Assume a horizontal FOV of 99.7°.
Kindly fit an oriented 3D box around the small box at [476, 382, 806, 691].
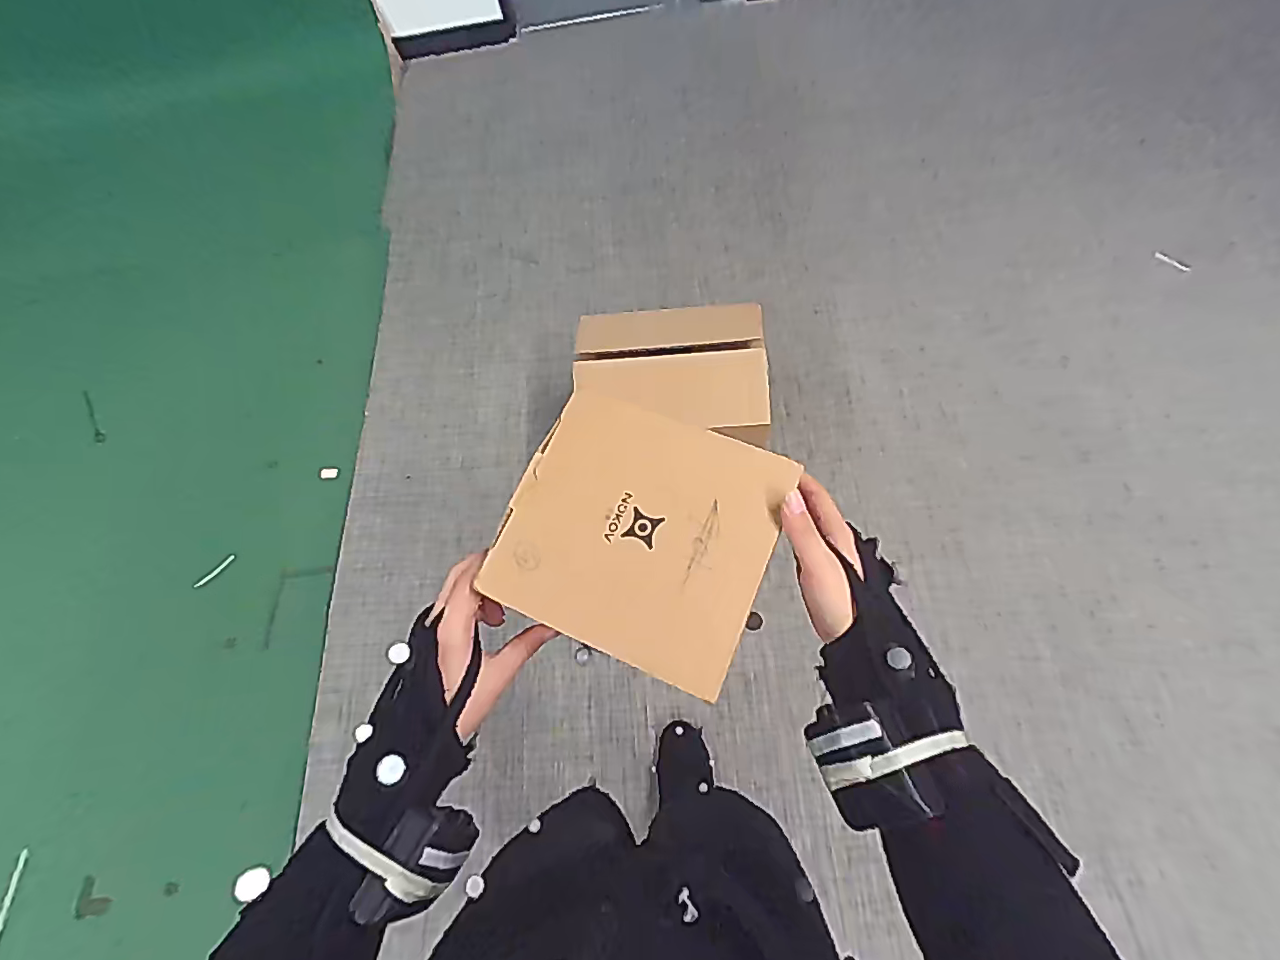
[{"bbox_3d":[0.008,0.053,0.434,0.179,0.176,0.168,21,75,12],"label":"small box"}]
